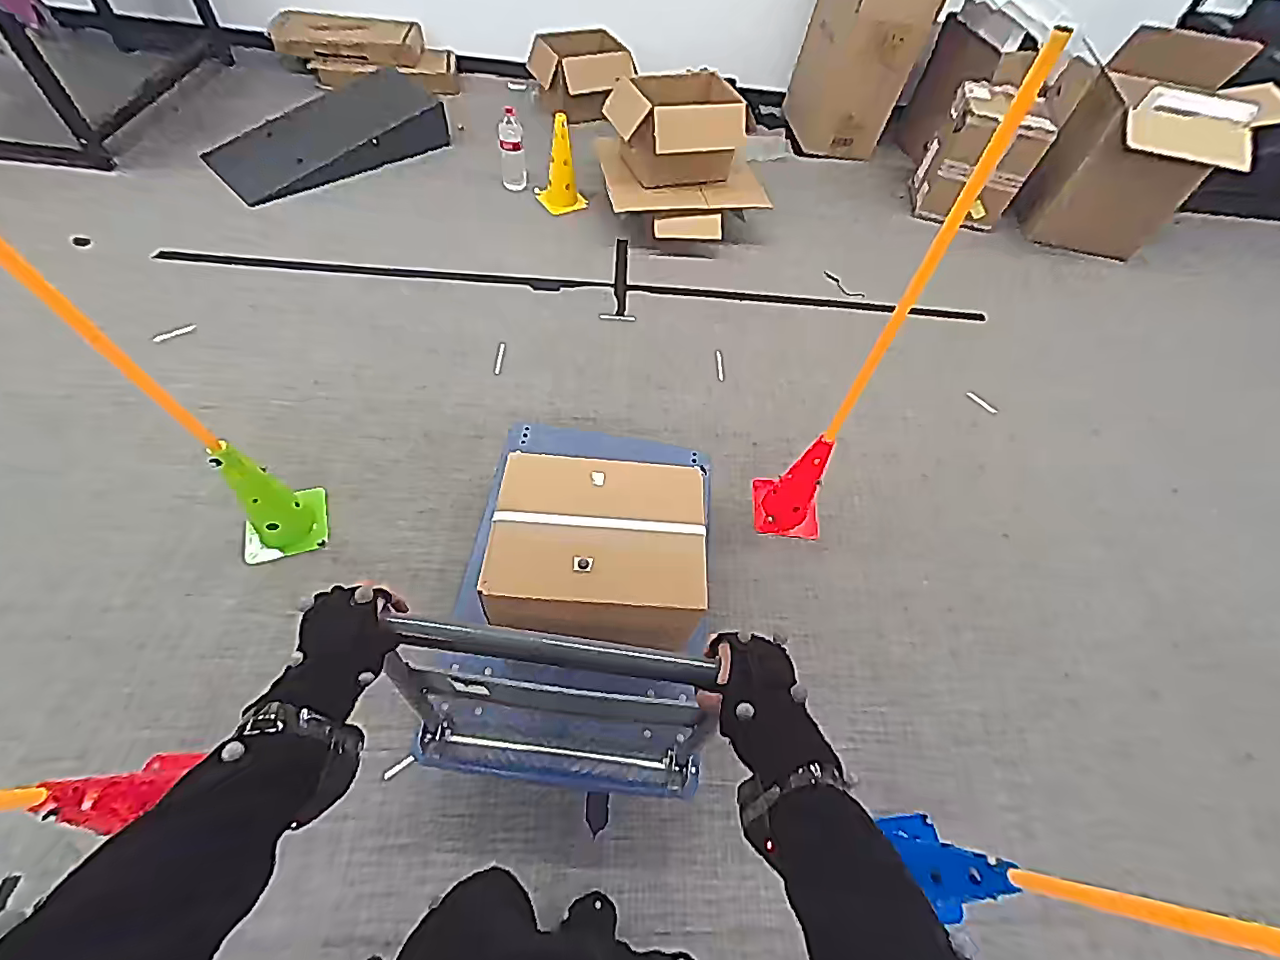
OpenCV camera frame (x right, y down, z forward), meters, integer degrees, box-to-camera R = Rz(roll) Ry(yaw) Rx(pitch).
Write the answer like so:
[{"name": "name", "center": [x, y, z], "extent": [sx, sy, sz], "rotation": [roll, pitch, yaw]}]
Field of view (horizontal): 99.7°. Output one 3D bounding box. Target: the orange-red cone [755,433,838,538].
[{"name": "orange-red cone", "center": [0.473, -0.010, 1.532], "extent": [0.199, 0.360, 0.198], "rotation": [9, 56, -2]}]
